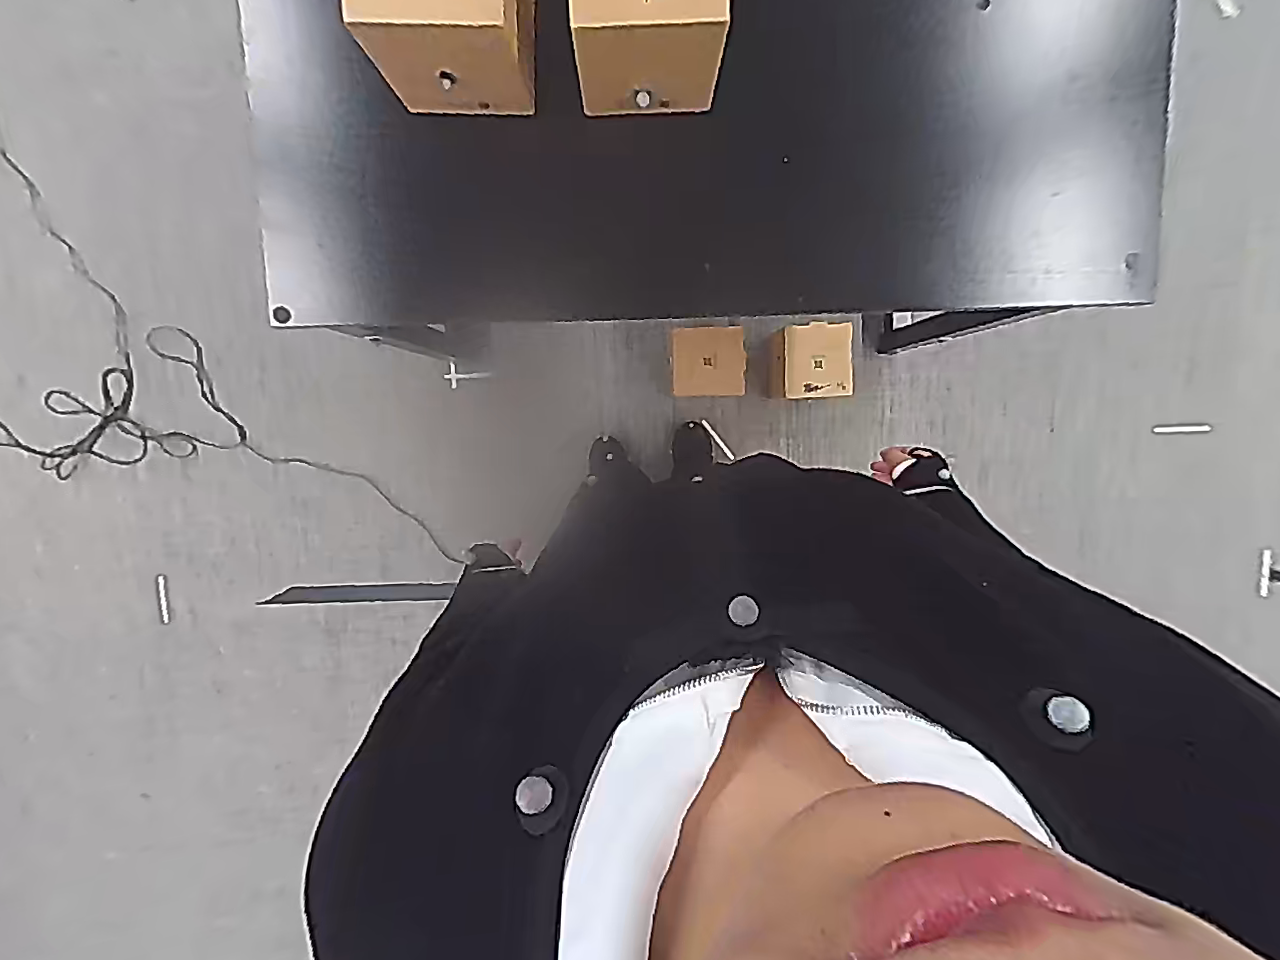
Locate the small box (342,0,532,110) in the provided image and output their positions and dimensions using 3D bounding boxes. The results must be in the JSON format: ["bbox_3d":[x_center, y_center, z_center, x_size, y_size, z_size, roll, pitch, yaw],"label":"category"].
[{"bbox_3d":[-0.220,-0.559,0.620,0.168,0.176,0.179,1,96,-1],"label":"small box"}]

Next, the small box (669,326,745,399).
[{"bbox_3d":[0.166,-0.295,1.384,0.179,0.176,0.168,-2,96,1],"label":"small box"}]

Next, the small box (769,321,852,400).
[{"bbox_3d":[0.429,-0.299,1.381,0.168,0.176,0.179,-3,96,1],"label":"small box"}]

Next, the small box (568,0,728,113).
[{"bbox_3d":[0.005,-0.561,0.620,0.168,0.176,0.179,-2,97,0],"label":"small box"}]
